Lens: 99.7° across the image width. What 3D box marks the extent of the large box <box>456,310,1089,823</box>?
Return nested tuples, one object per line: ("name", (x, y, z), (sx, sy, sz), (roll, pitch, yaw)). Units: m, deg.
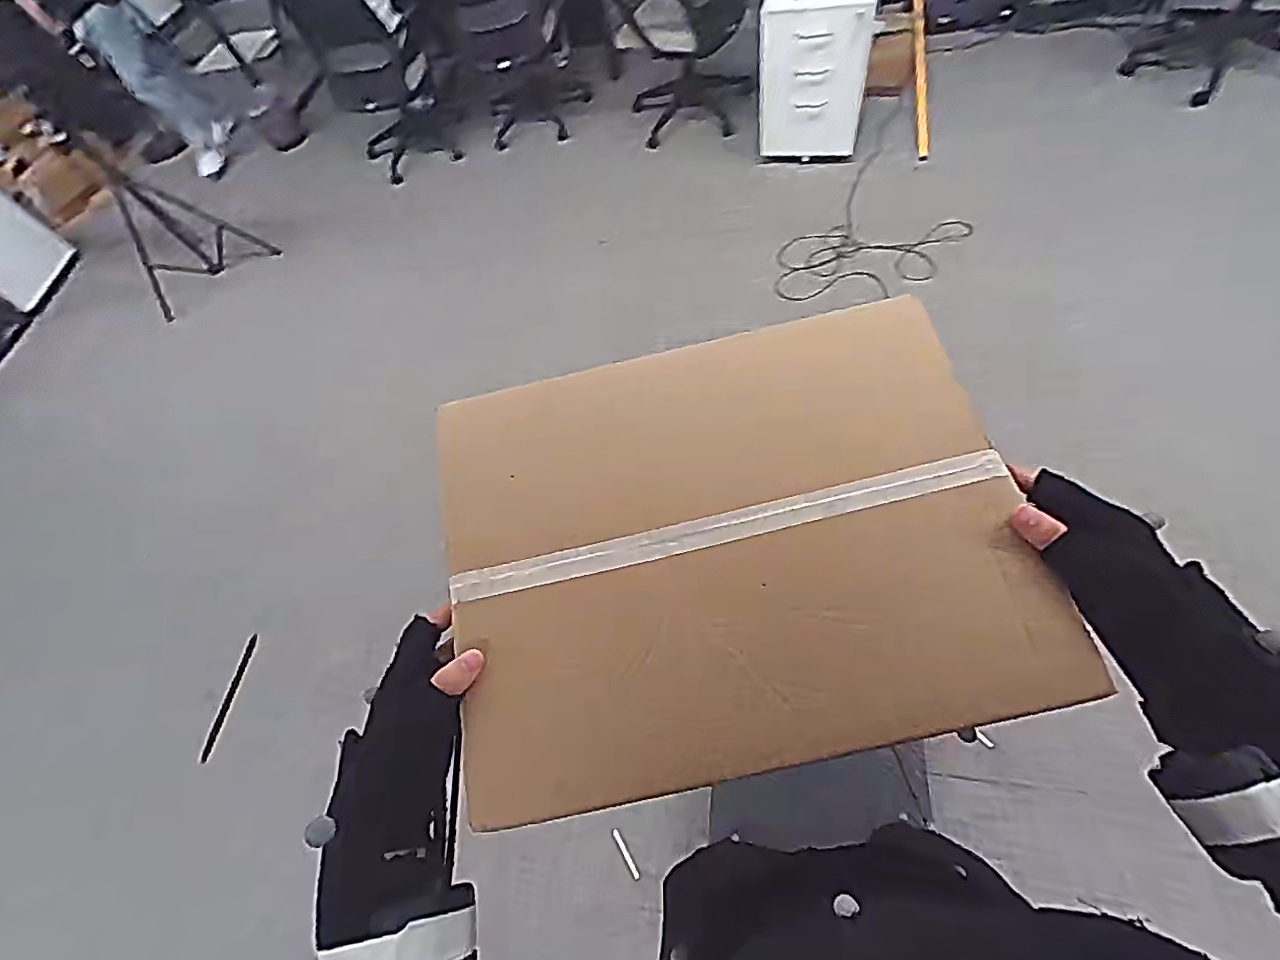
("large box", (0.082, 0.089, 0.538), (0.408, 0.320, 0.320), (-12, 68, 1))
